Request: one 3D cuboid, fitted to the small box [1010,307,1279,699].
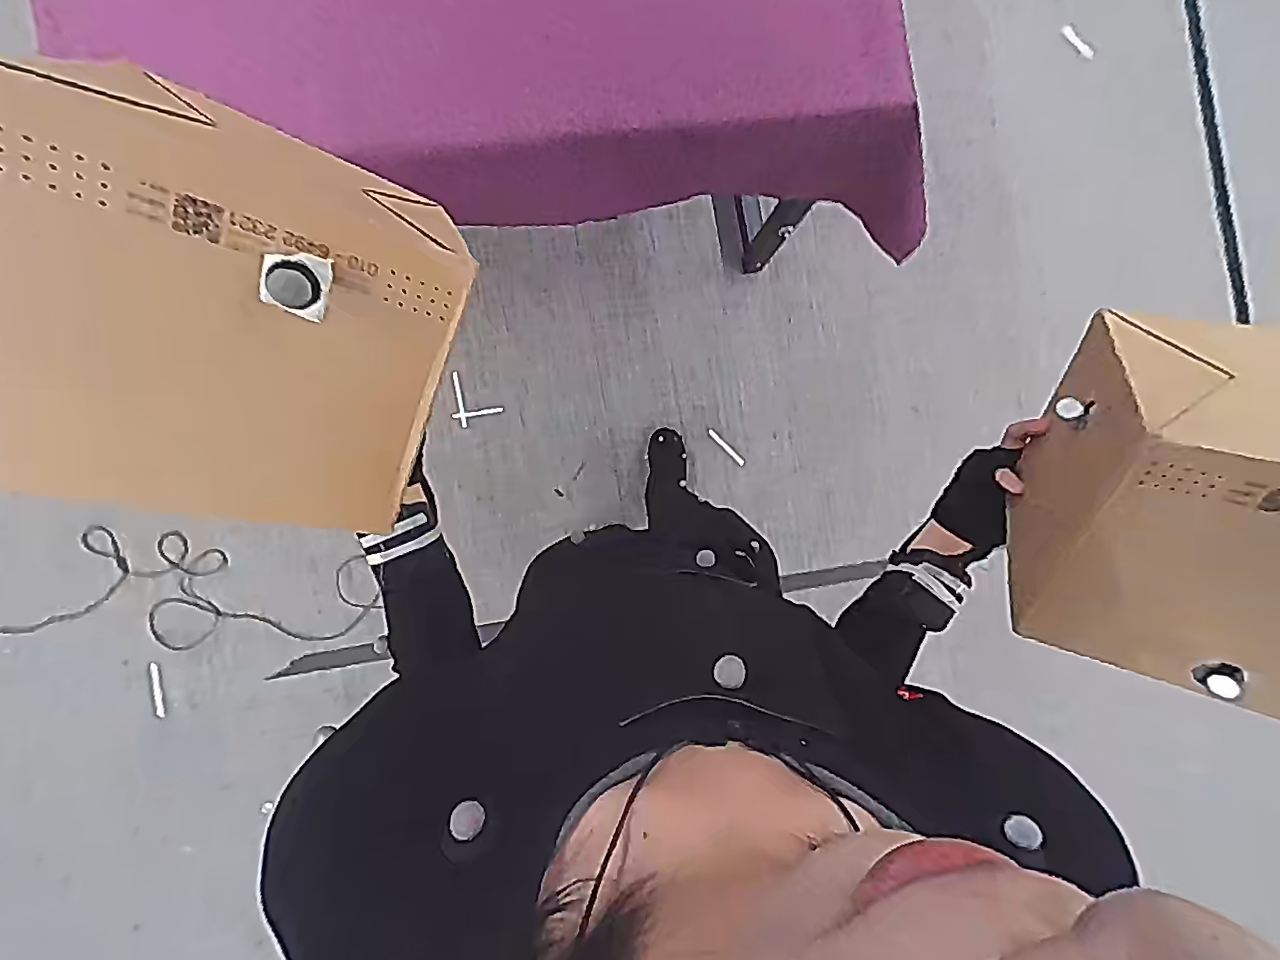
[{"bbox_3d":[0.358,0.001,0.338,0.168,0.176,0.179,15,44,22],"label":"small box"}]

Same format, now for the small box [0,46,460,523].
[{"bbox_3d":[-0.210,-0.101,0.303,0.168,0.179,0.176,10,116,-31],"label":"small box"}]
